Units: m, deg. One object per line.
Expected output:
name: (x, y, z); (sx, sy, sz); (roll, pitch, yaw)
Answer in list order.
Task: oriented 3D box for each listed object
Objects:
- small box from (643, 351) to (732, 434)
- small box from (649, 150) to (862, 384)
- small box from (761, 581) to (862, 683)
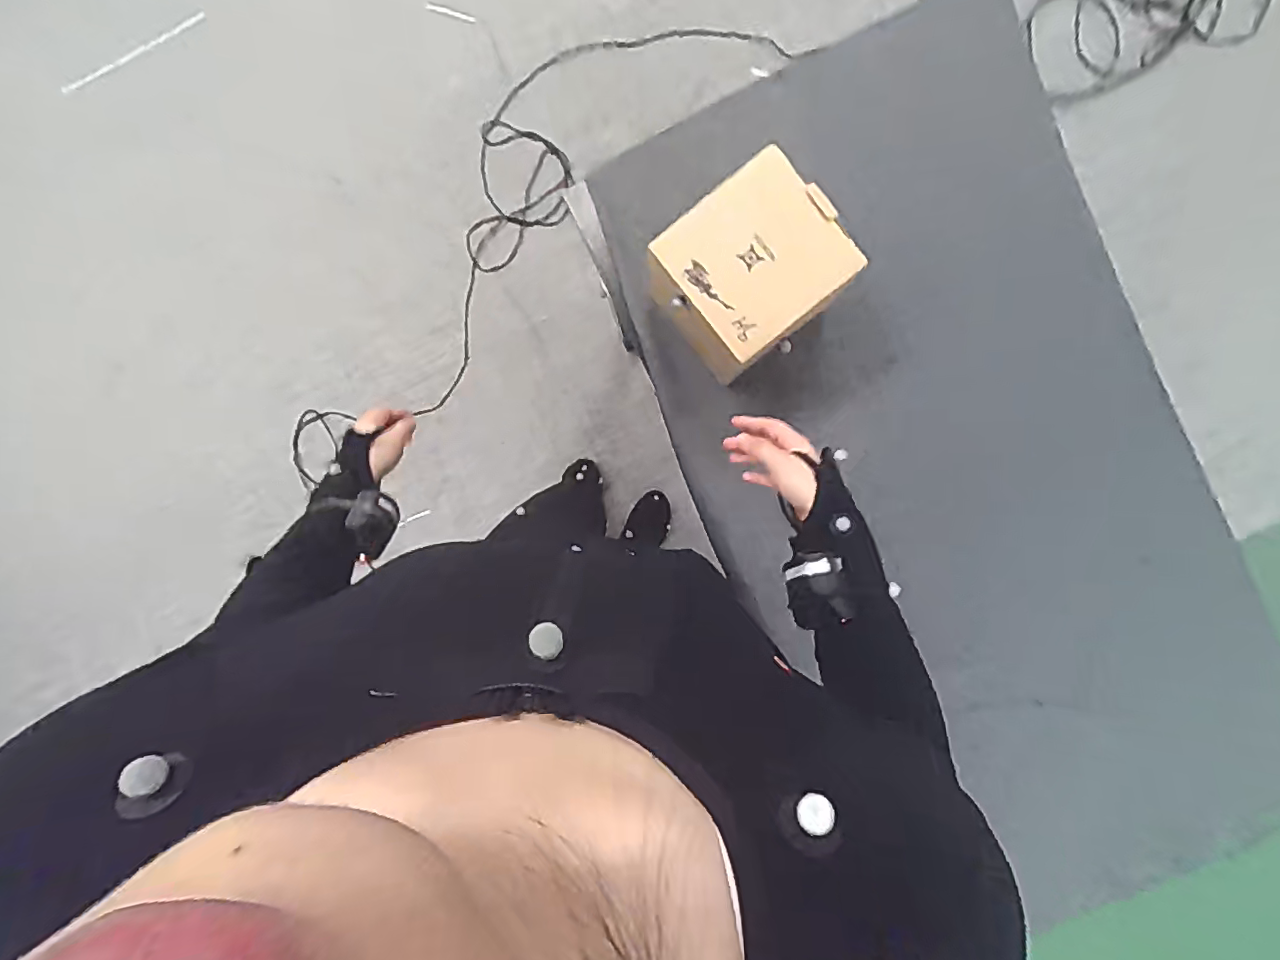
small box: (0.119, -0.226, 1.392); (0.179, 0.176, 0.168); (-21, 89, 2)
small box: (0.125, -0.242, 0.660); (0.179, 0.176, 0.168); (-38, 89, 2)
small box: (0.426, 0.381, 1.382); (0.179, 0.176, 0.168); (-30, 90, 2)
